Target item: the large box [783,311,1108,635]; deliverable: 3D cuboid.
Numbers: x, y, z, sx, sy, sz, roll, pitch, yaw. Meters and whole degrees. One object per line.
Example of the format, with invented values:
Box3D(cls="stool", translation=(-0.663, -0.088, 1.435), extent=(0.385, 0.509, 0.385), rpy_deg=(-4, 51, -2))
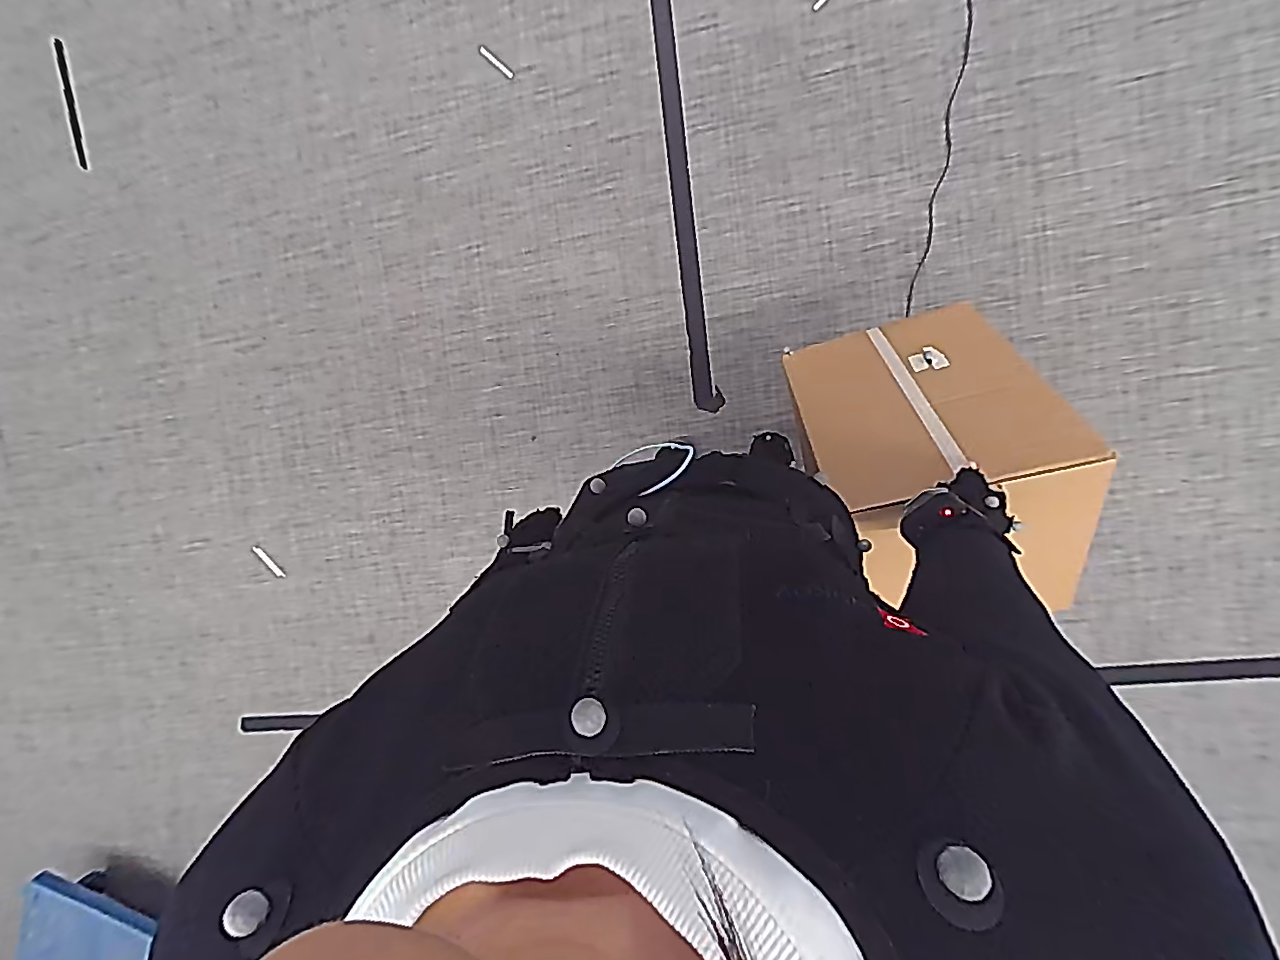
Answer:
Box3D(cls="large box", translation=(0.454, -0.017, 0.899), extent=(0.320, 0.408, 0.320), rpy_deg=(-13, 130, 12))
